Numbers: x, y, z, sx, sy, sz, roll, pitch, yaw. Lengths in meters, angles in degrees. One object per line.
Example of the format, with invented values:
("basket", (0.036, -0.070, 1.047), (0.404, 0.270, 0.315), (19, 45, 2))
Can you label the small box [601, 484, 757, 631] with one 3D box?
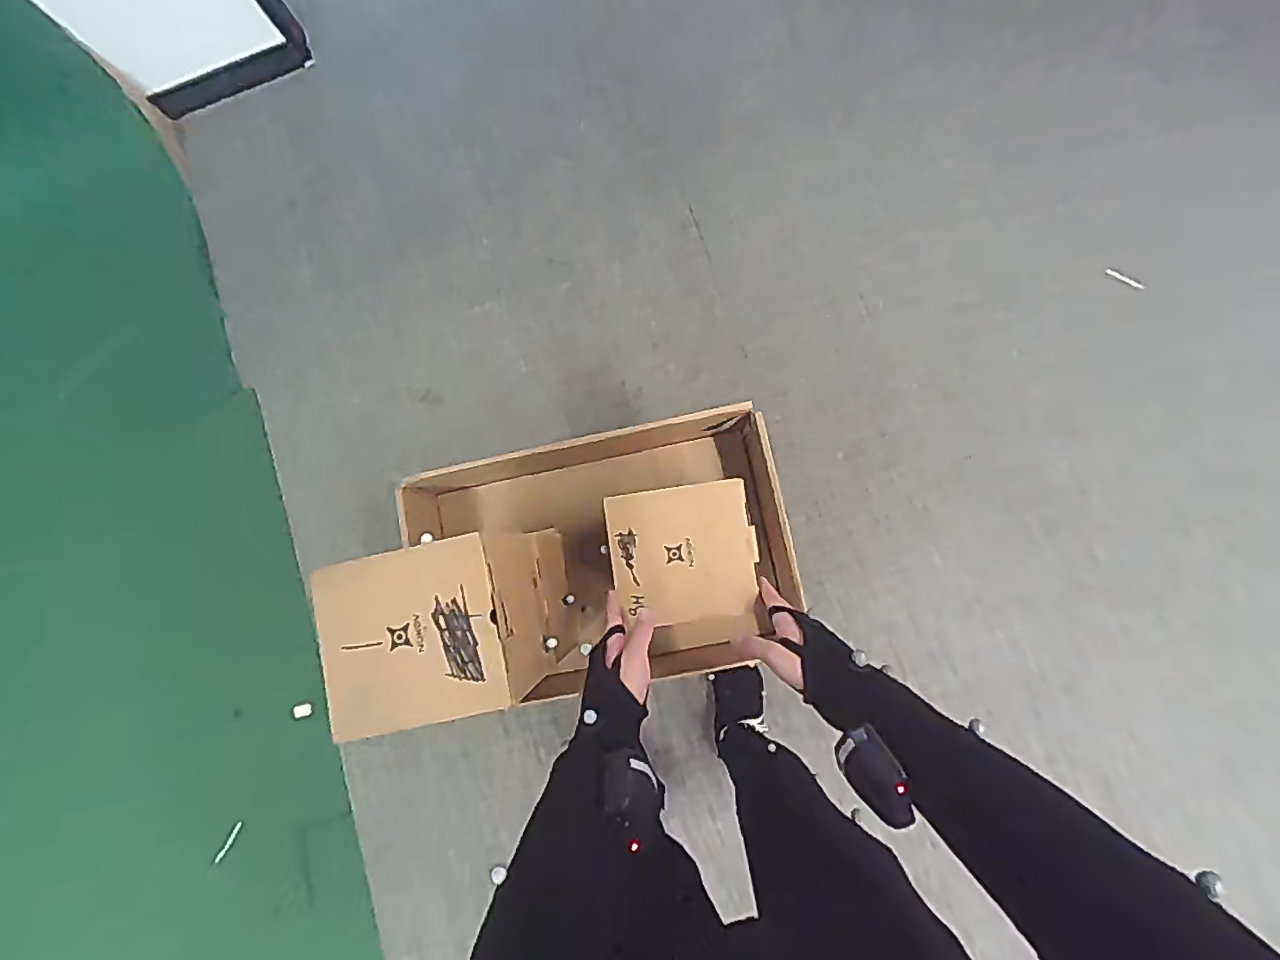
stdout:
("small box", (0.052, 0.101, 0.743), (0.179, 0.176, 0.168), (-9, 84, 5))

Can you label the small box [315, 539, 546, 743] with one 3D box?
("small box", (-0.214, 0.161, 0.599), (0.179, 0.176, 0.168), (-14, 83, 5))
